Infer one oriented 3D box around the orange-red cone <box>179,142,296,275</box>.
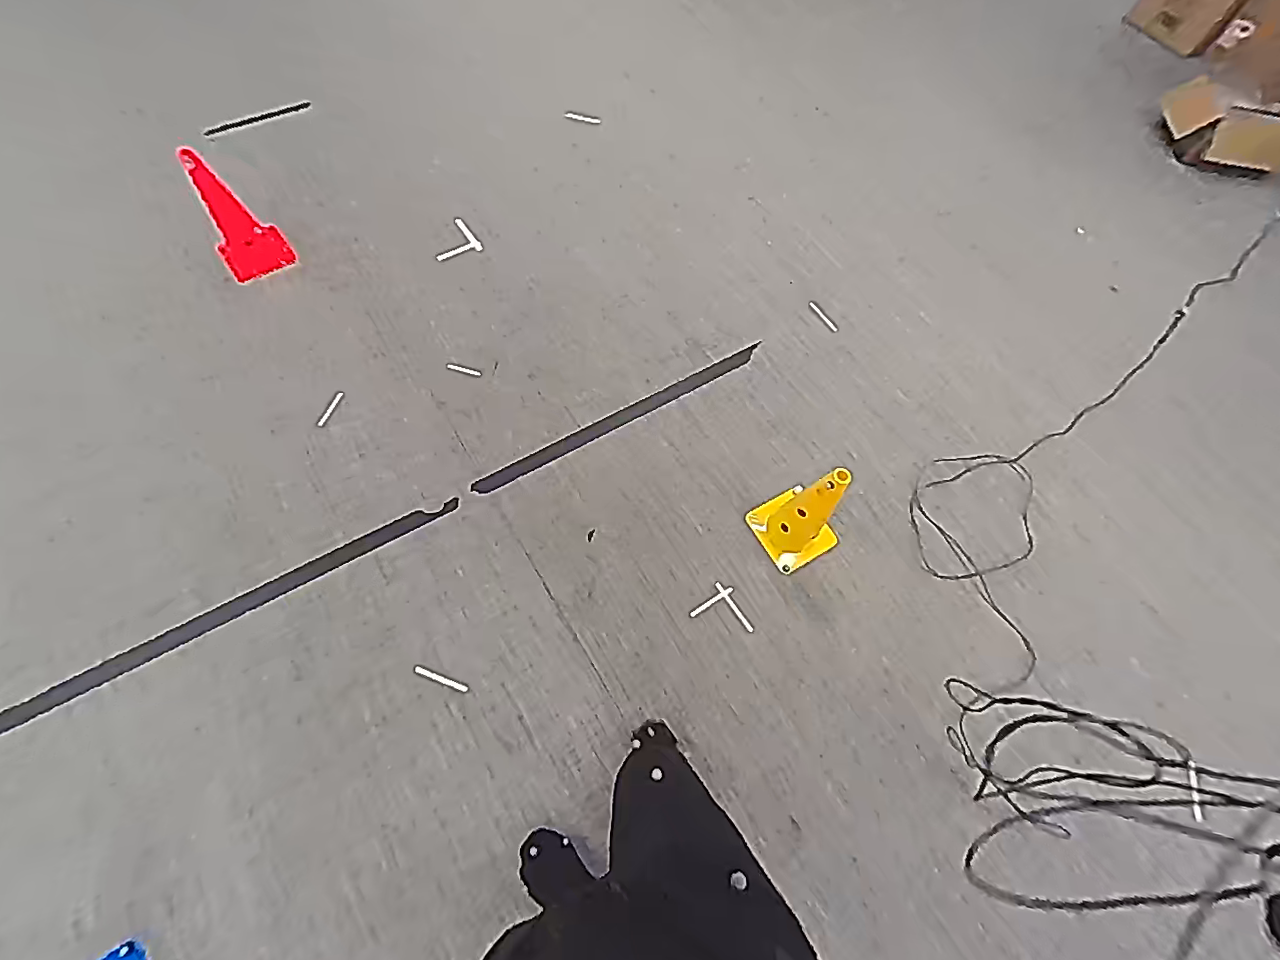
[{"bbox_3d":[-1.259,-0.843,1.643,0.199,0.360,0.198,-33,72,-16],"label":"orange-red cone"}]
